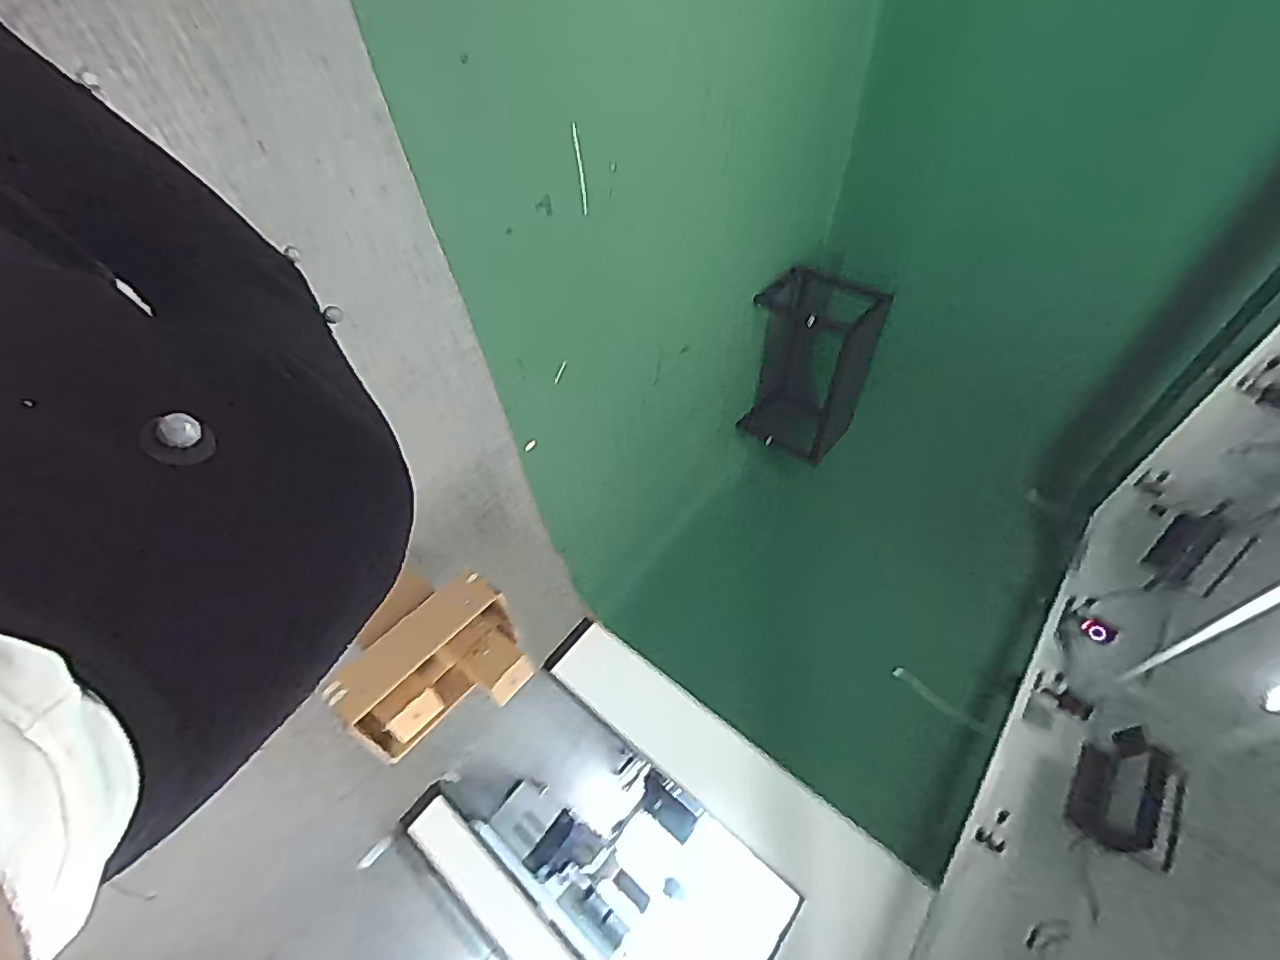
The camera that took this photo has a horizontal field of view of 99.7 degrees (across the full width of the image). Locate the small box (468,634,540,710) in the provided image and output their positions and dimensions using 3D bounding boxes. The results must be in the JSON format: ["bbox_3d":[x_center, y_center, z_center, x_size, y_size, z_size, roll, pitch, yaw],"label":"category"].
[{"bbox_3d":[-0.491,0.690,1.957,0.168,0.176,0.179,-44,149,-29],"label":"small box"}]

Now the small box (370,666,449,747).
[{"bbox_3d":[-0.803,0.787,1.890,0.168,0.176,0.179,-41,146,-32],"label":"small box"}]
